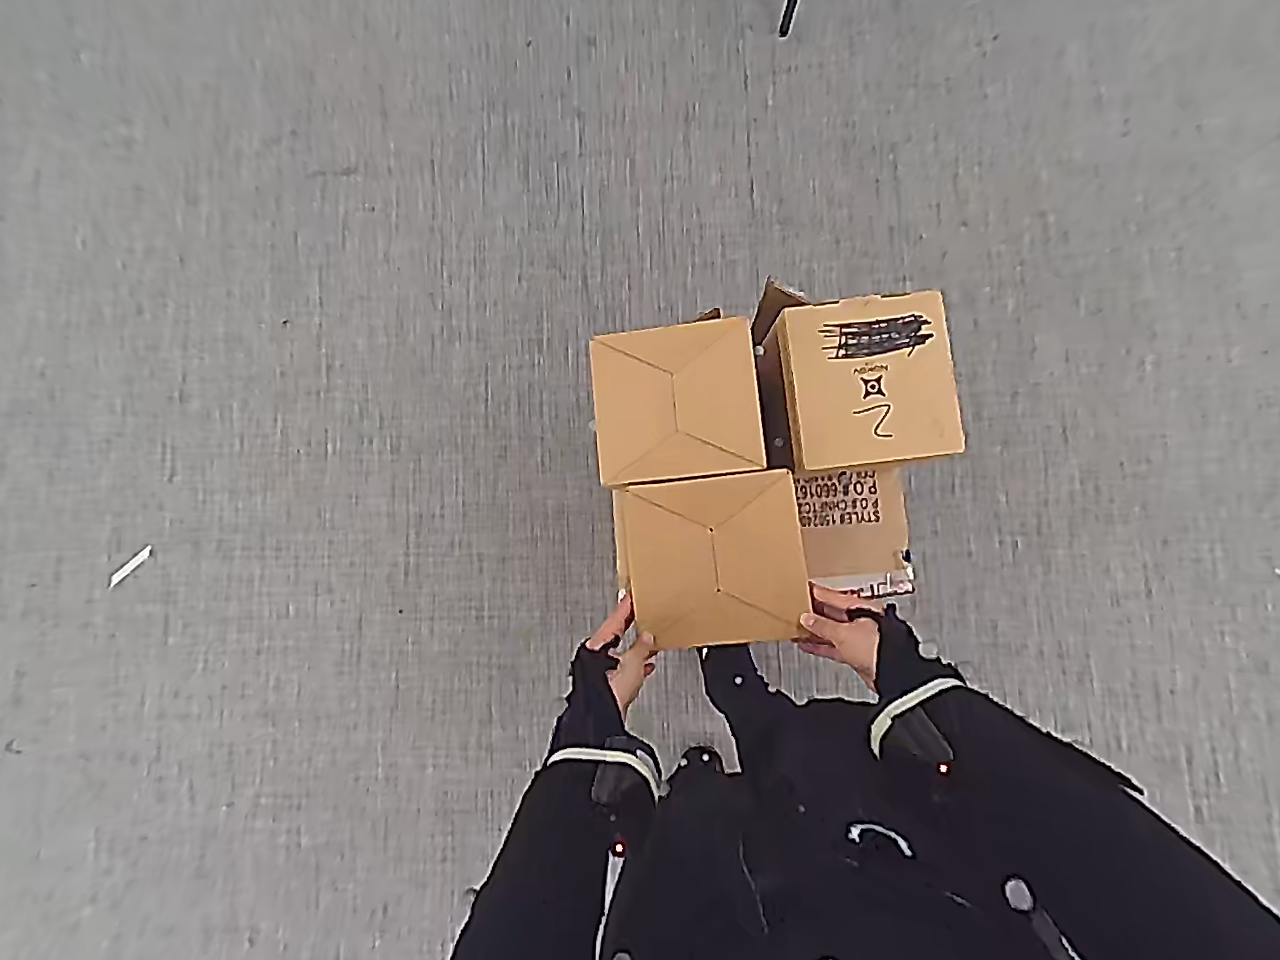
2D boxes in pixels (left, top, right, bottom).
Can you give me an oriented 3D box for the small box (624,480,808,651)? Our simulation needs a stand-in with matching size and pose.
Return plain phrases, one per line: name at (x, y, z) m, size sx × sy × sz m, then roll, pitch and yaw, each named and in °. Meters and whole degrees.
small box at (0.079, 0.098, 0.626) m, size 0.179 × 0.176 × 0.168 m, roll -6°, pitch 80°, yaw 4°
